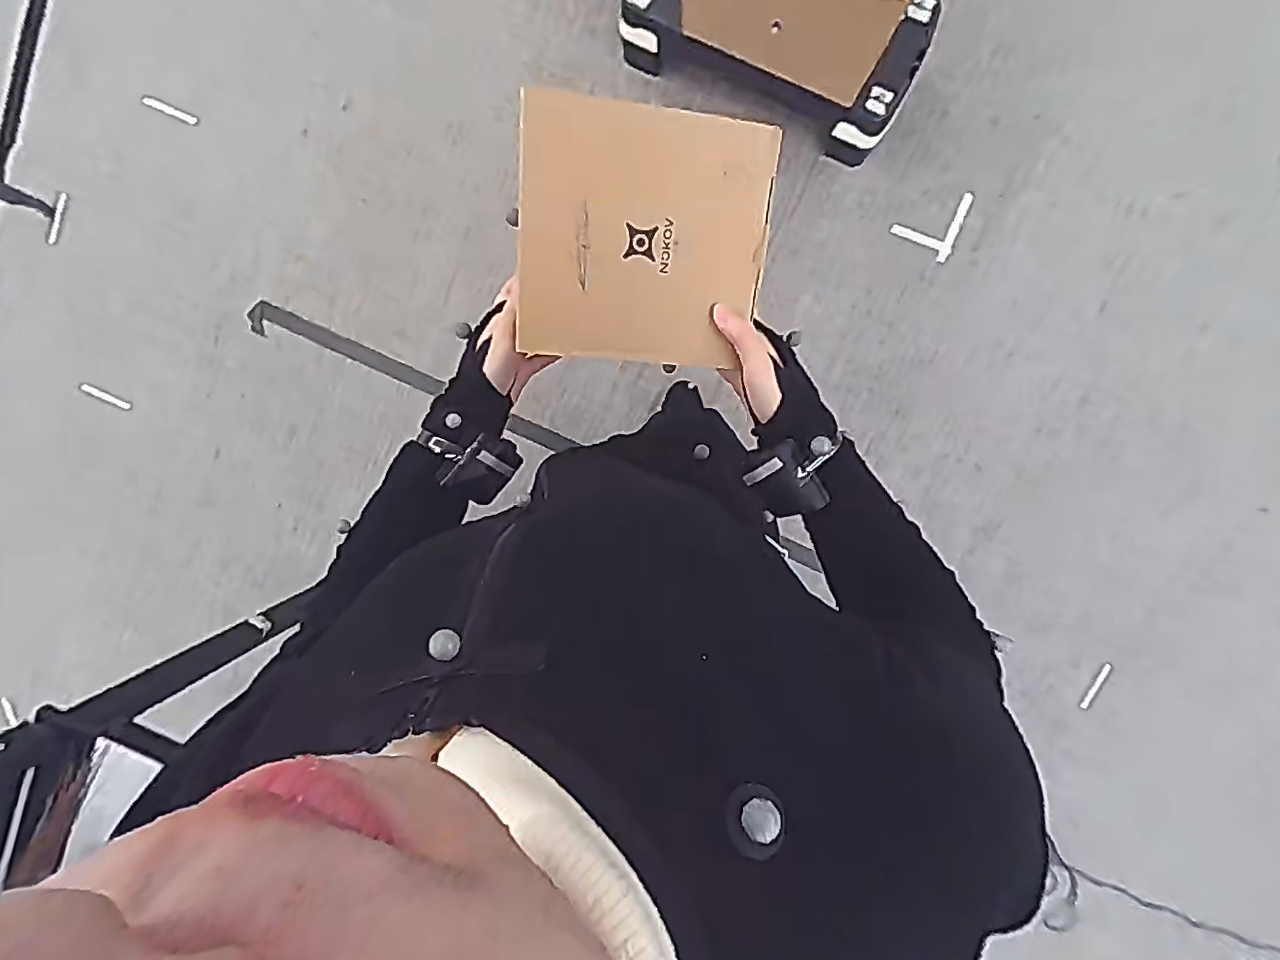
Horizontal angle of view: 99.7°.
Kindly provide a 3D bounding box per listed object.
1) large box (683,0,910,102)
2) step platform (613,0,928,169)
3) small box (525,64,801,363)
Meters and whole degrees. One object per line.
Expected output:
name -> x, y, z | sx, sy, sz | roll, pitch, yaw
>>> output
large box -> 0.320, -0.997, 0.995 | 0.408, 0.320, 0.320 | 24, 97, 2
step platform -> 0.280, -1.031, 1.235 | 0.684, 0.204, 0.286 | 30, 98, 1
small box -> 0.001, -0.197, 0.441 | 0.179, 0.176, 0.168 | 3, 108, -11
